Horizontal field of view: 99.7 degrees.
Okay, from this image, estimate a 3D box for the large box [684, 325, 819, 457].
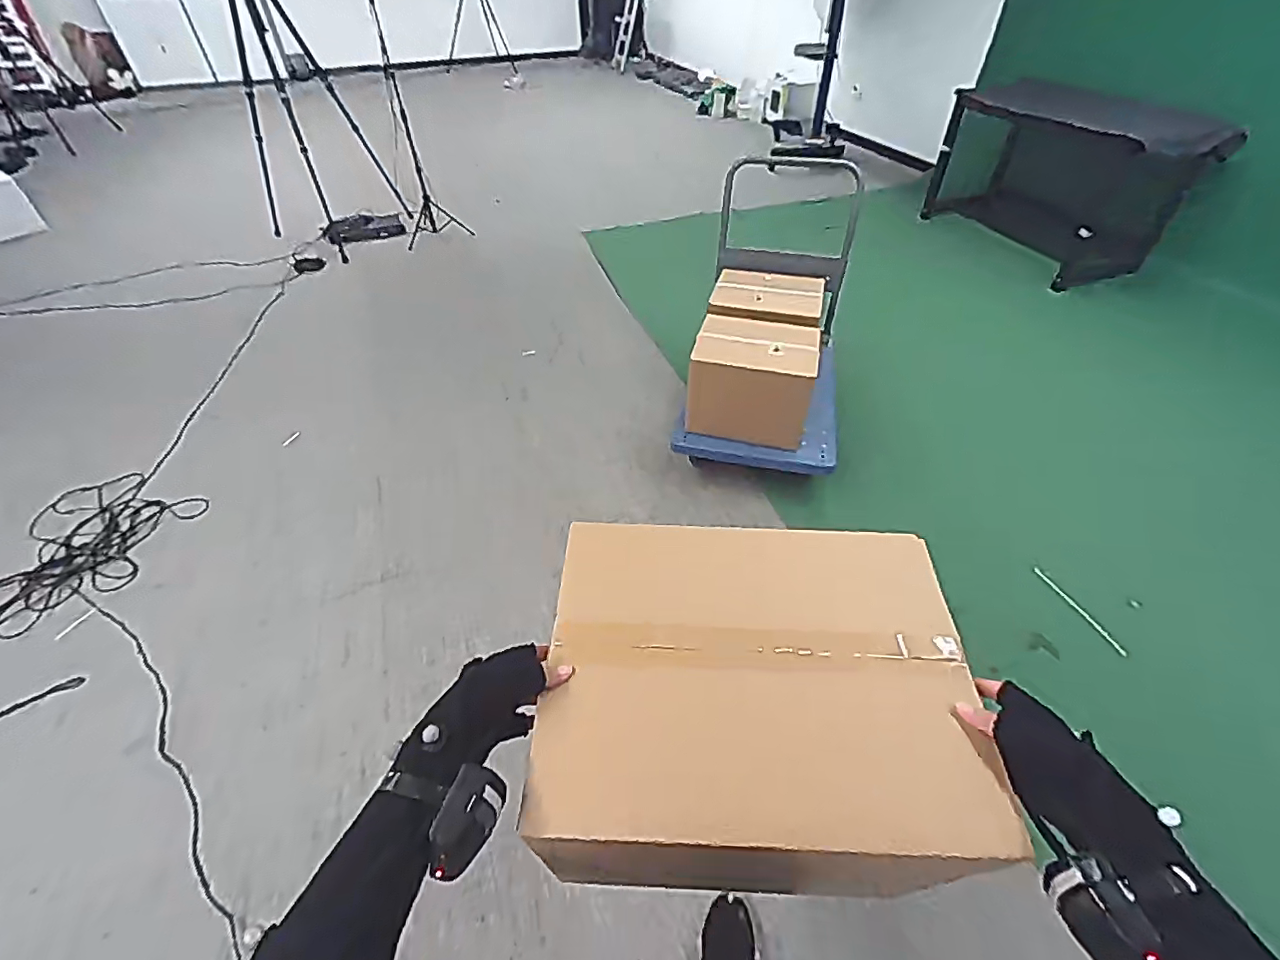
[{"bbox_3d":[0.390,-0.319,1.919,0.408,0.320,0.320,12,45,11],"label":"large box"}]
